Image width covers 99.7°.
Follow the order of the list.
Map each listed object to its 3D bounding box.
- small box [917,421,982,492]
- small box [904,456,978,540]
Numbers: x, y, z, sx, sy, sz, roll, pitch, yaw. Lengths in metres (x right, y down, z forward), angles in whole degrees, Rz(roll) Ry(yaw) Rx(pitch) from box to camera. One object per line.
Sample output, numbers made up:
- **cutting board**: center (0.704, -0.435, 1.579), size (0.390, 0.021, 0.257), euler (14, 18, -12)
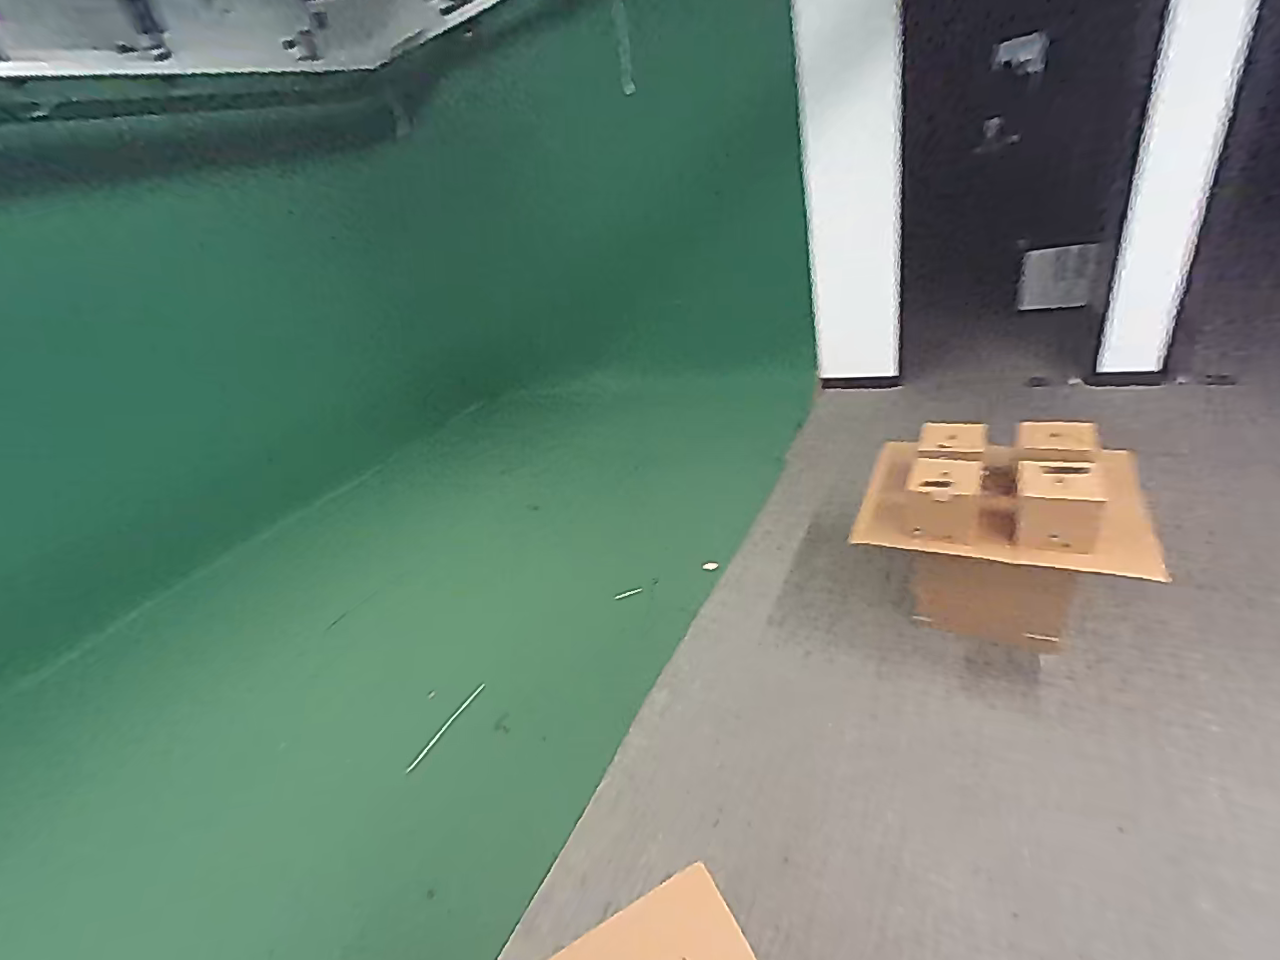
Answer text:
- **small box**: center (0.961, -0.070, 1.680), size (0.168, 0.176, 0.179), euler (2, 33, 32)
- **small box**: center (0.852, 0.051, 1.528), size (0.168, 0.176, 0.179), euler (5, 35, 33)
